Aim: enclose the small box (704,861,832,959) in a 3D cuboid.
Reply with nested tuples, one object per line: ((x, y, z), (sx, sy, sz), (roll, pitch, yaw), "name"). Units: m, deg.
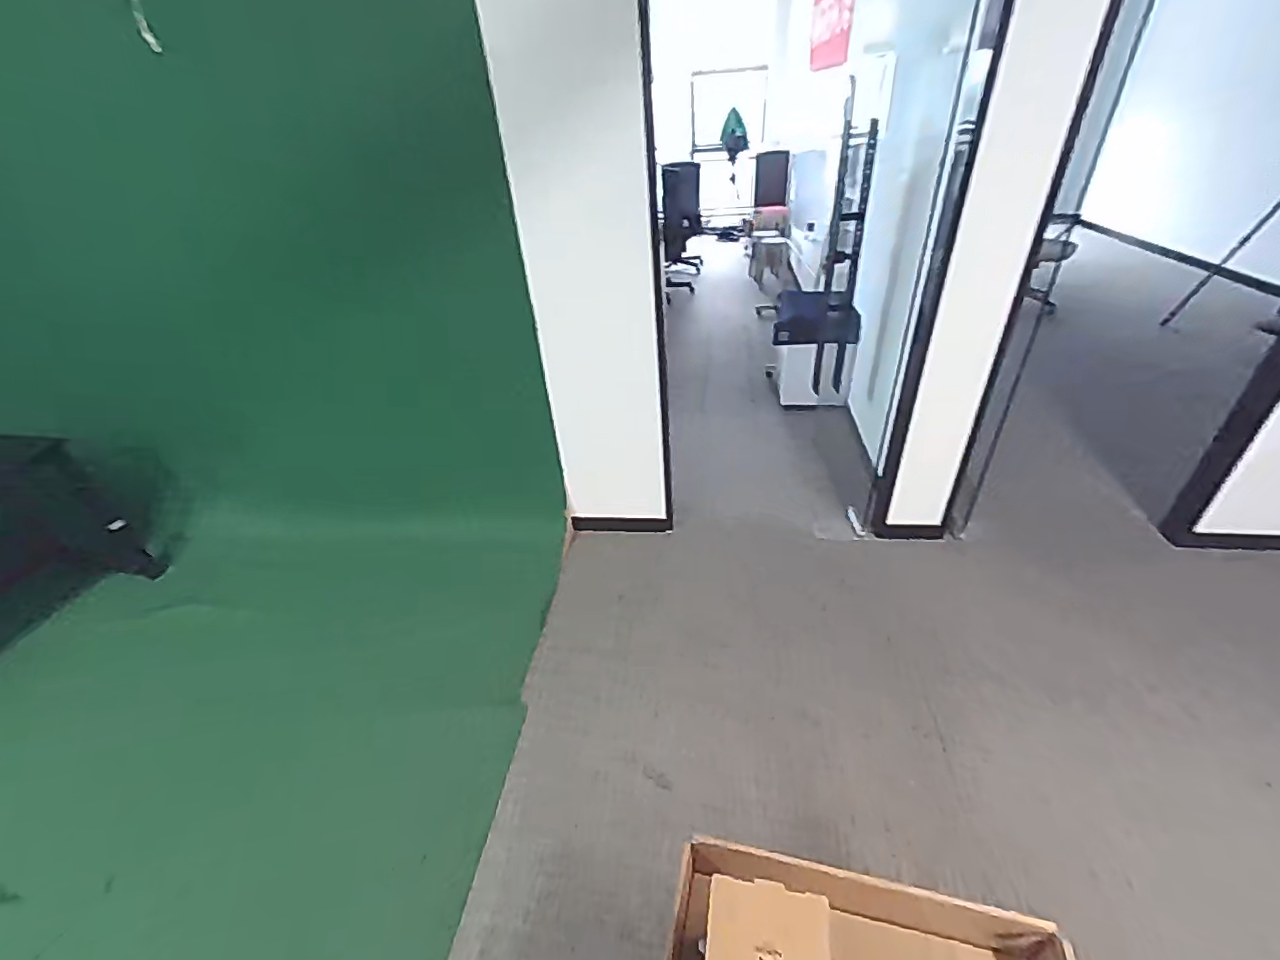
((0.179, 0.689, 0.769), (0.168, 0.176, 0.179), (2, 37, 14), "small box")
